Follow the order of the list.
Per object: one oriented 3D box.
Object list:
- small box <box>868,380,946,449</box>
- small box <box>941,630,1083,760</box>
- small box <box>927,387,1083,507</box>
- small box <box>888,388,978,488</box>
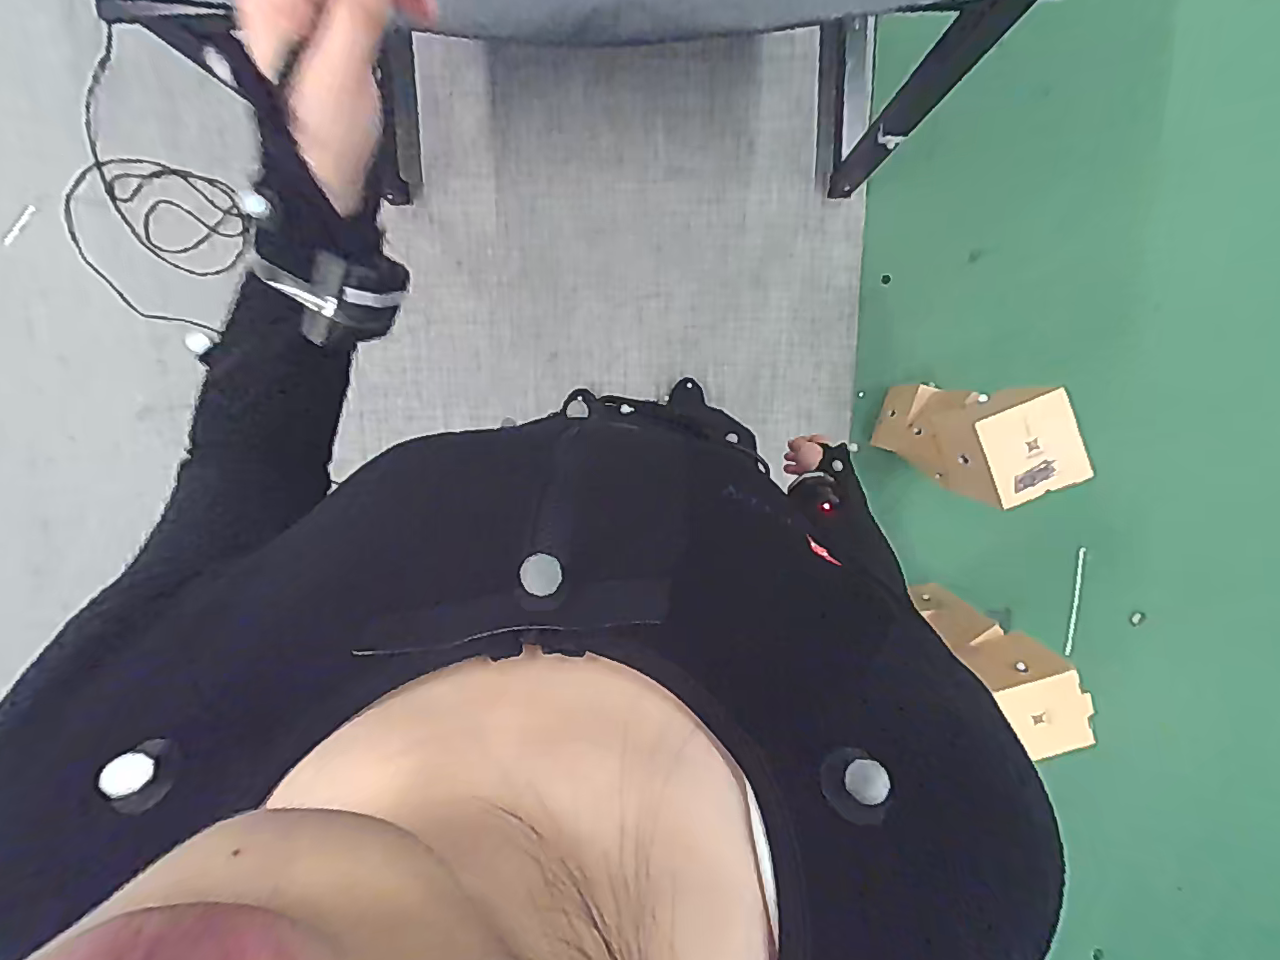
[{"bbox_3d":[0.708,-0.147,1.365,0.179,0.176,0.168,17,100,-2],"label":"small box"},{"bbox_3d":[0.761,0.440,1.130,0.179,0.176,0.168,-19,99,4],"label":"small box"},{"bbox_3d":[0.696,-0.071,1.048,0.168,0.176,0.179,-22,98,6],"label":"small box"},{"bbox_3d":[0.699,-0.090,1.211,0.179,0.176,0.168,37,100,-5],"label":"small box"}]
